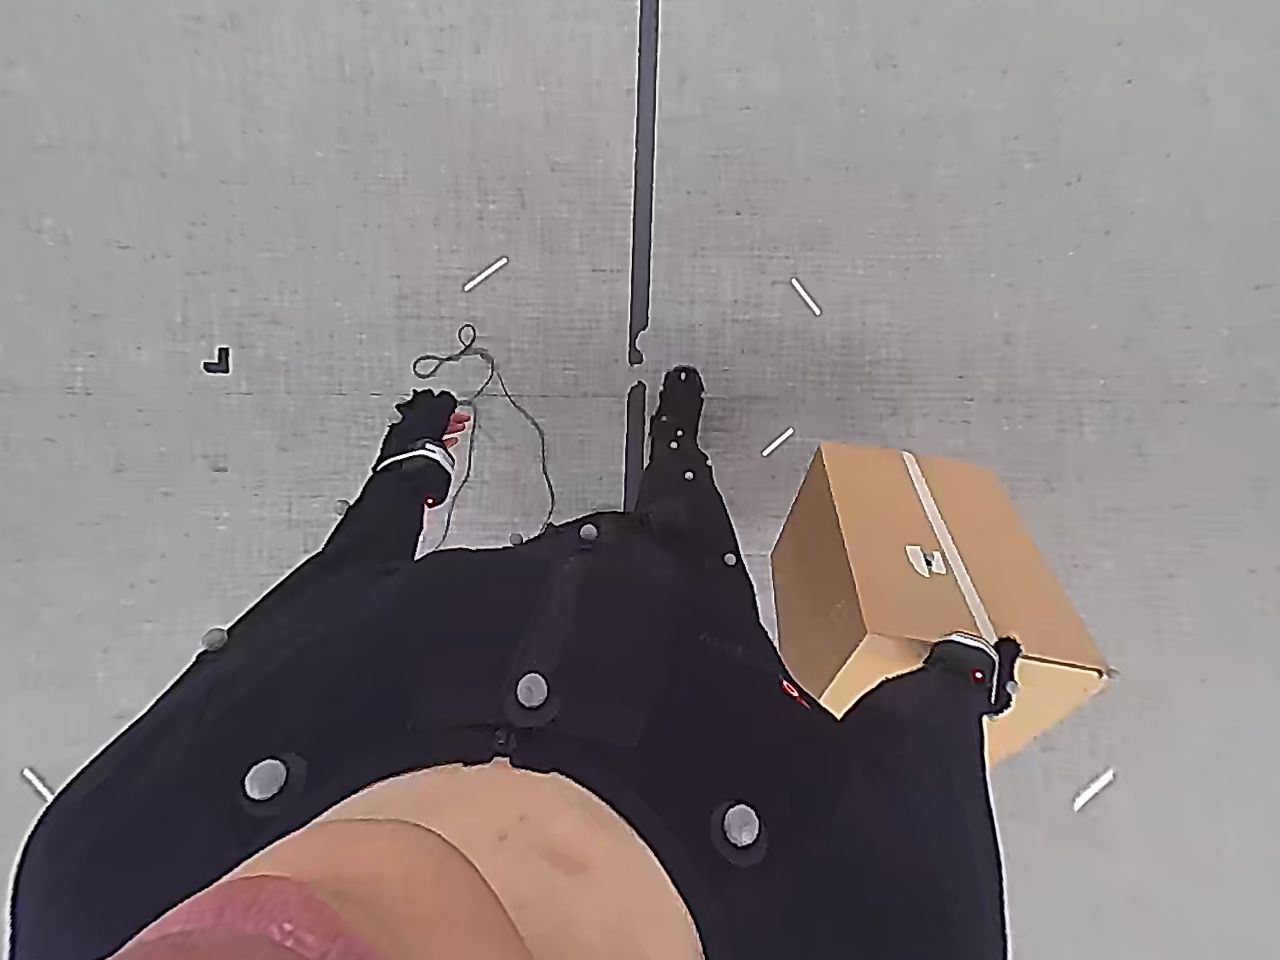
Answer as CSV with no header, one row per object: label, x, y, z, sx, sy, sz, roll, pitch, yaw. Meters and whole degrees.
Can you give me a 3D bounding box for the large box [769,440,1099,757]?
large box,0.433,0.192,0.931,0.320,0.408,0.320,10,131,-1
